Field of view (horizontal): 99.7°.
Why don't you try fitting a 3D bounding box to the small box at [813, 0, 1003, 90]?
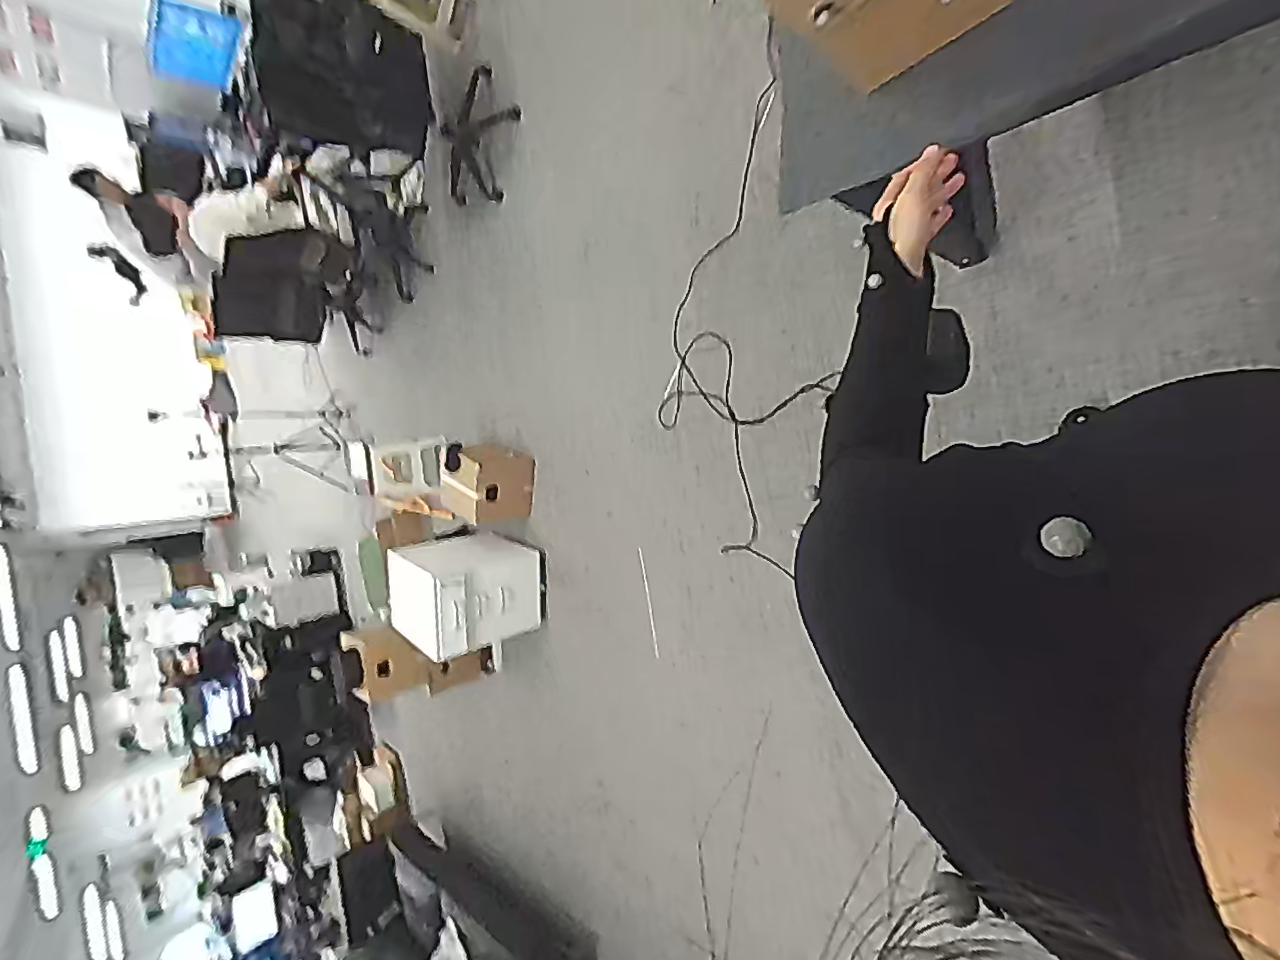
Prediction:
[{"bbox_3d":[0.312,-0.614,0.632,0.179,0.176,0.168,-10,87,48],"label":"small box"}]
